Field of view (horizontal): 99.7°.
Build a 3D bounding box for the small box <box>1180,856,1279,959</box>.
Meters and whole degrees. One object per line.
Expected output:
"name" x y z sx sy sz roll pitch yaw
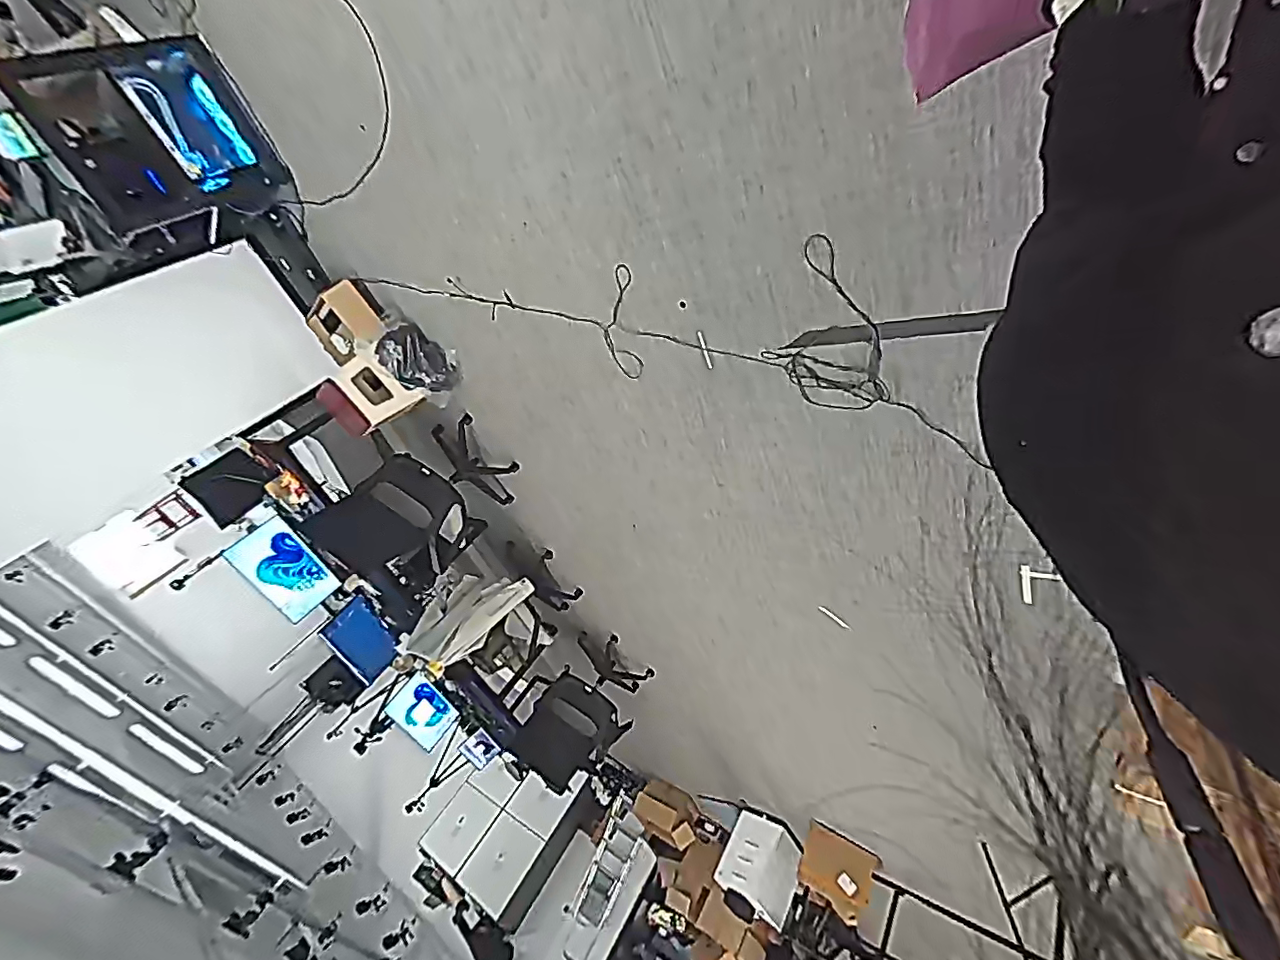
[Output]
"small box" 1.476 1.082 1.342 0.168 0.176 0.179 9 133 37
